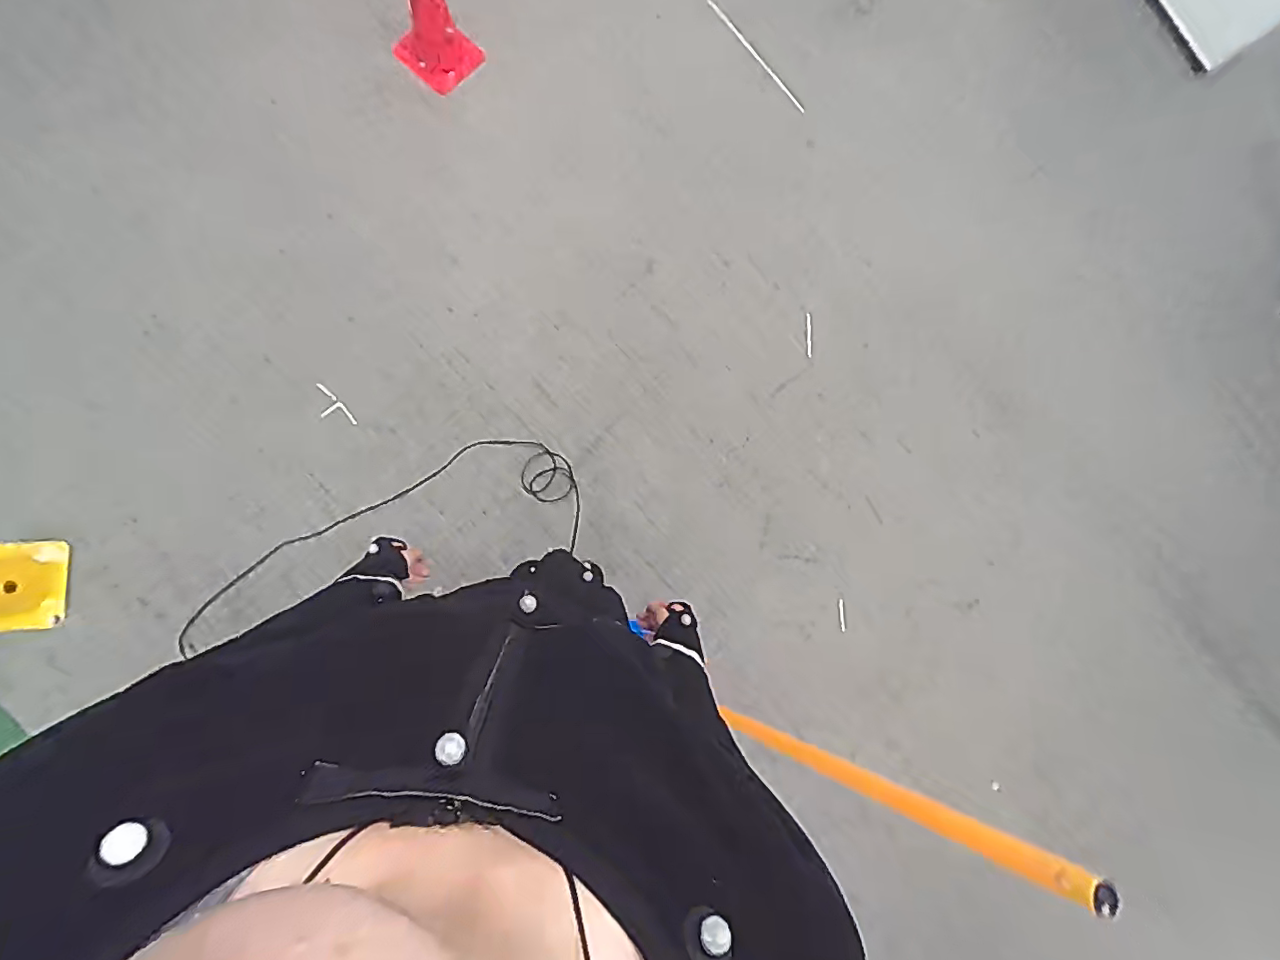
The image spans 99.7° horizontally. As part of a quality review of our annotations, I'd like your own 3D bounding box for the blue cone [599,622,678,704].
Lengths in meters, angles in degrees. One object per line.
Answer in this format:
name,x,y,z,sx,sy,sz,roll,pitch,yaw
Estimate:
blue cone,0.023,0.473,1.334,0.193,0.380,0.192,8,81,-12
